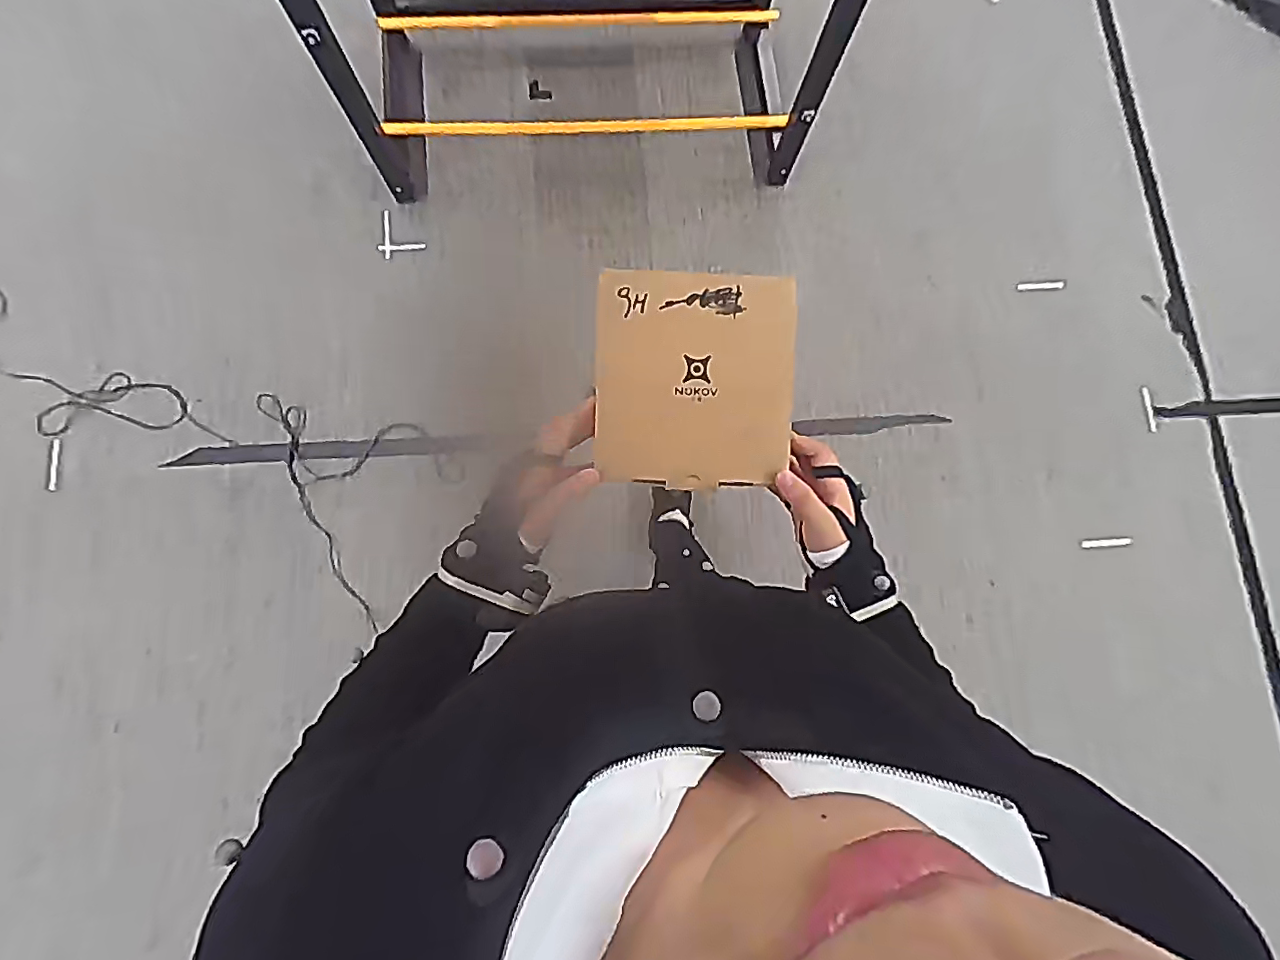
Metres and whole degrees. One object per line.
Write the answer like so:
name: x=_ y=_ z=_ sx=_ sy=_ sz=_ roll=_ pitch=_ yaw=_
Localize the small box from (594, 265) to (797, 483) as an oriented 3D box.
small box: x=0.042 y=-0.093 z=0.529 sx=0.168 sy=0.176 sz=0.179 roll=1 pitch=94 yaw=-4
